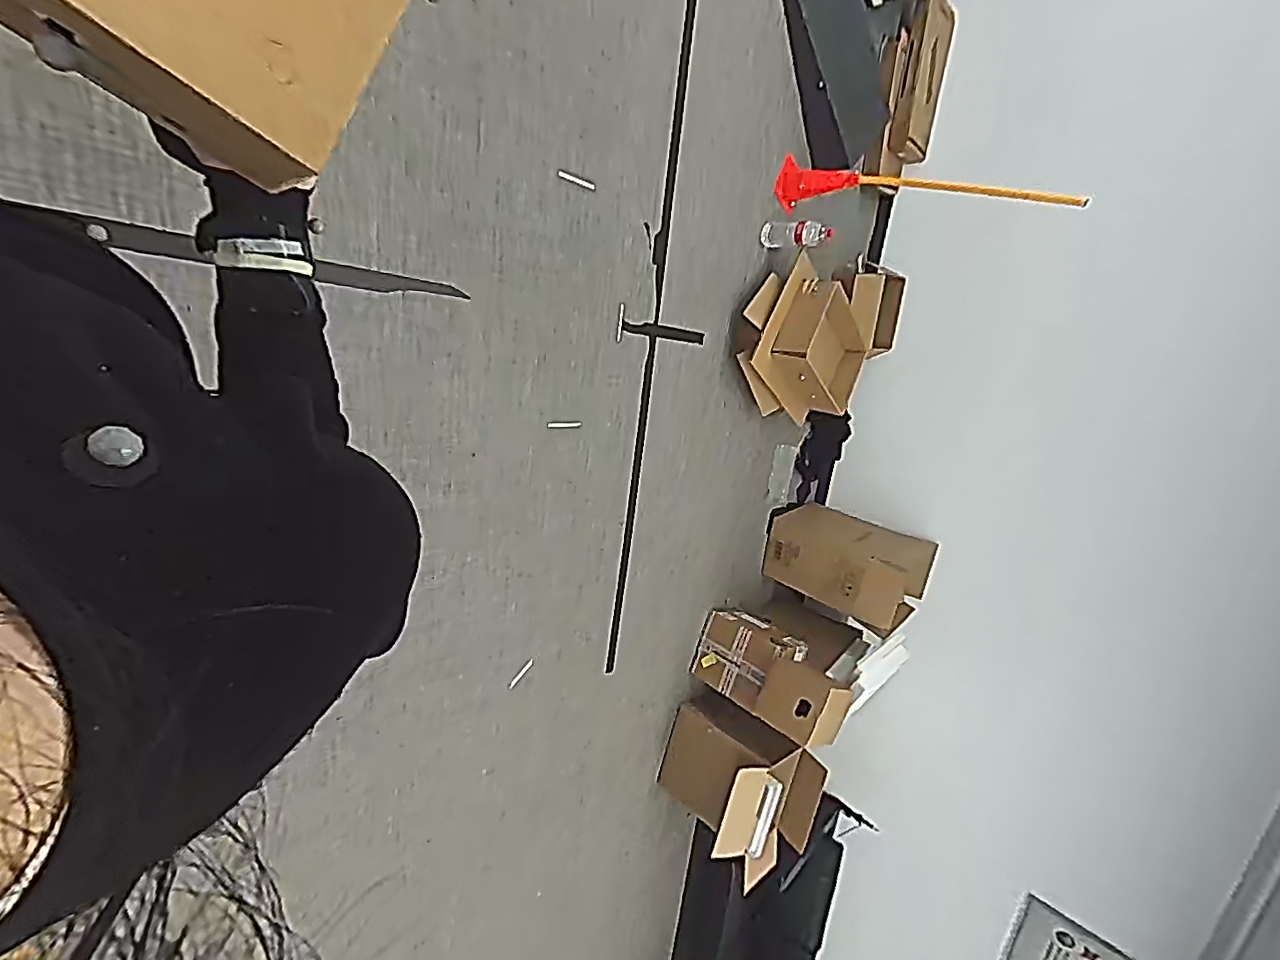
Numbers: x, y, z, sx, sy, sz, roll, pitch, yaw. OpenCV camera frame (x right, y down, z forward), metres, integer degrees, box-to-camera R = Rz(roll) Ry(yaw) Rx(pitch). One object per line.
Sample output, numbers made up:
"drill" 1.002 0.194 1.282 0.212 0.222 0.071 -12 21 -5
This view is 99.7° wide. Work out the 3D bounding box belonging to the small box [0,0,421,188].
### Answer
"small box" -0.230 -0.287 0.290 0.168 0.176 0.179 27 88 -45
